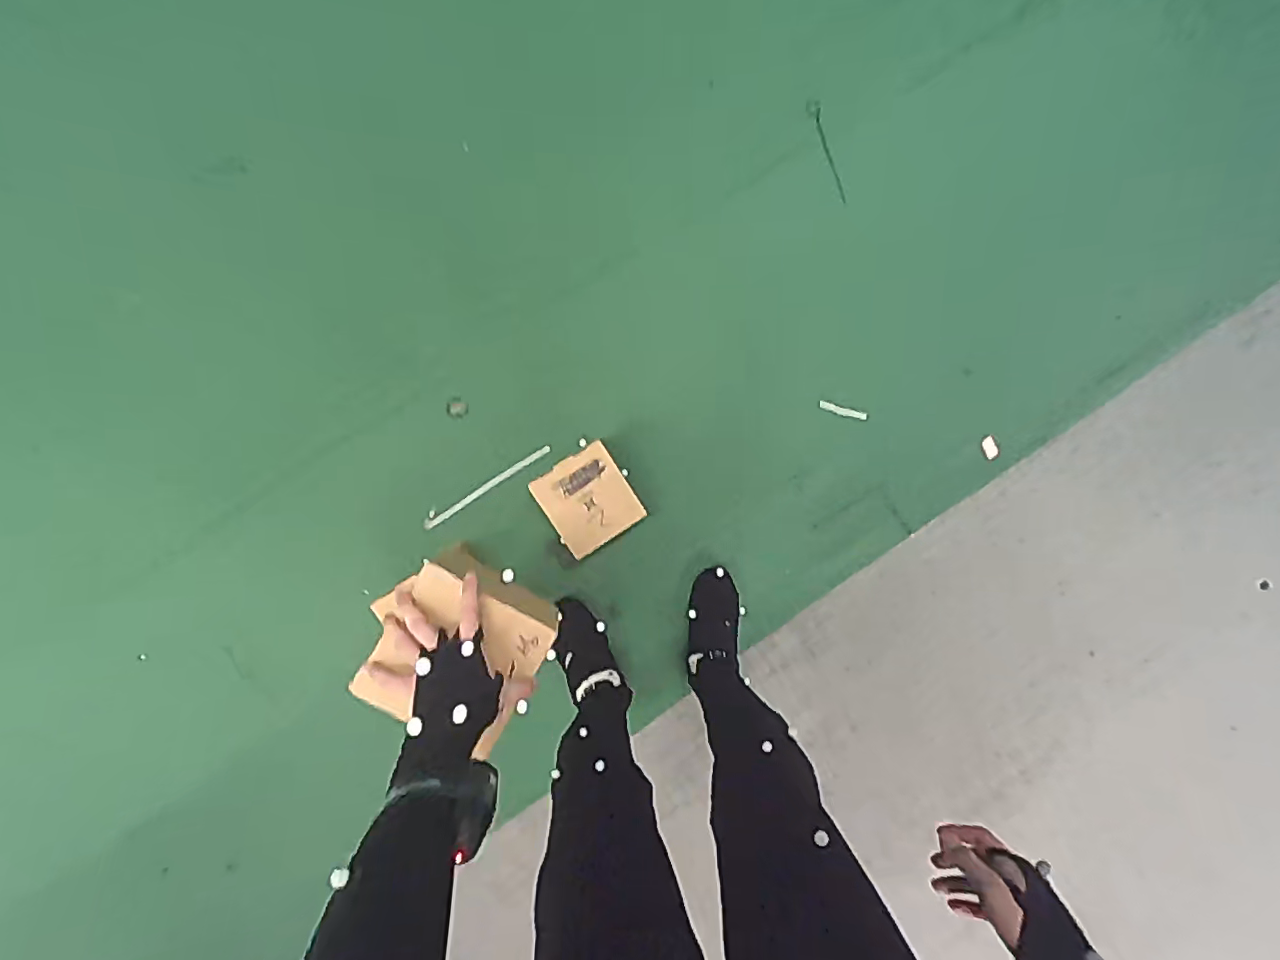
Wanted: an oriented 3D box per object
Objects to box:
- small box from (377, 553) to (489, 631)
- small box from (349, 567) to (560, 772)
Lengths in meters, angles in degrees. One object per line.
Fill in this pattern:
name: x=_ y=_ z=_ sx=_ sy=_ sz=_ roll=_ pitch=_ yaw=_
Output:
small box: x=-0.388 y=0.272 z=1.107 sx=0.168 sy=0.176 sz=0.179 roll=-34 pitch=95 yaw=-2
small box: x=-0.217 y=0.222 z=0.687 sx=0.179 sy=0.176 sz=0.168 roll=31 pitch=83 yaw=-5
